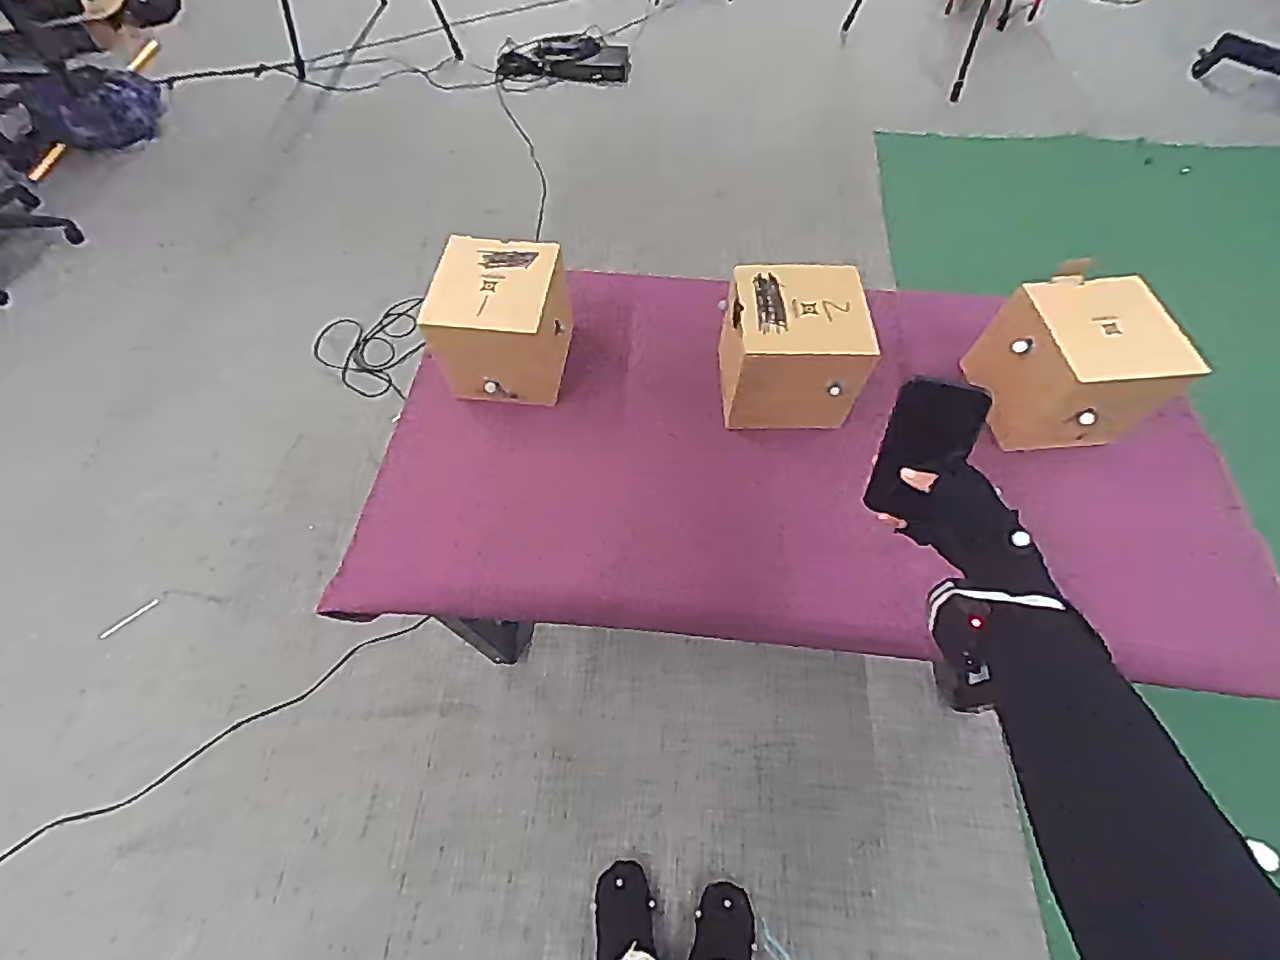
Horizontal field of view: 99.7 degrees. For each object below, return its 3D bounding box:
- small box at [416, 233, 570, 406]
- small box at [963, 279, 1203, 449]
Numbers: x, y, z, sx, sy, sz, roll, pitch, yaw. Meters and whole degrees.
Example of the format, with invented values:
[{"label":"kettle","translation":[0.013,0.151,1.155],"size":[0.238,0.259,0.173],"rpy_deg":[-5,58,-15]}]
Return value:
[{"label":"small box","translation":[-0.206,-0.237,0.815],"size":[0.168,0.176,0.179],"rpy_deg":[6,63,4]},{"label":"small box","translation":[0.604,-0.156,0.769],"size":[0.168,0.176,0.179],"rpy_deg":[-4,60,-1]}]
